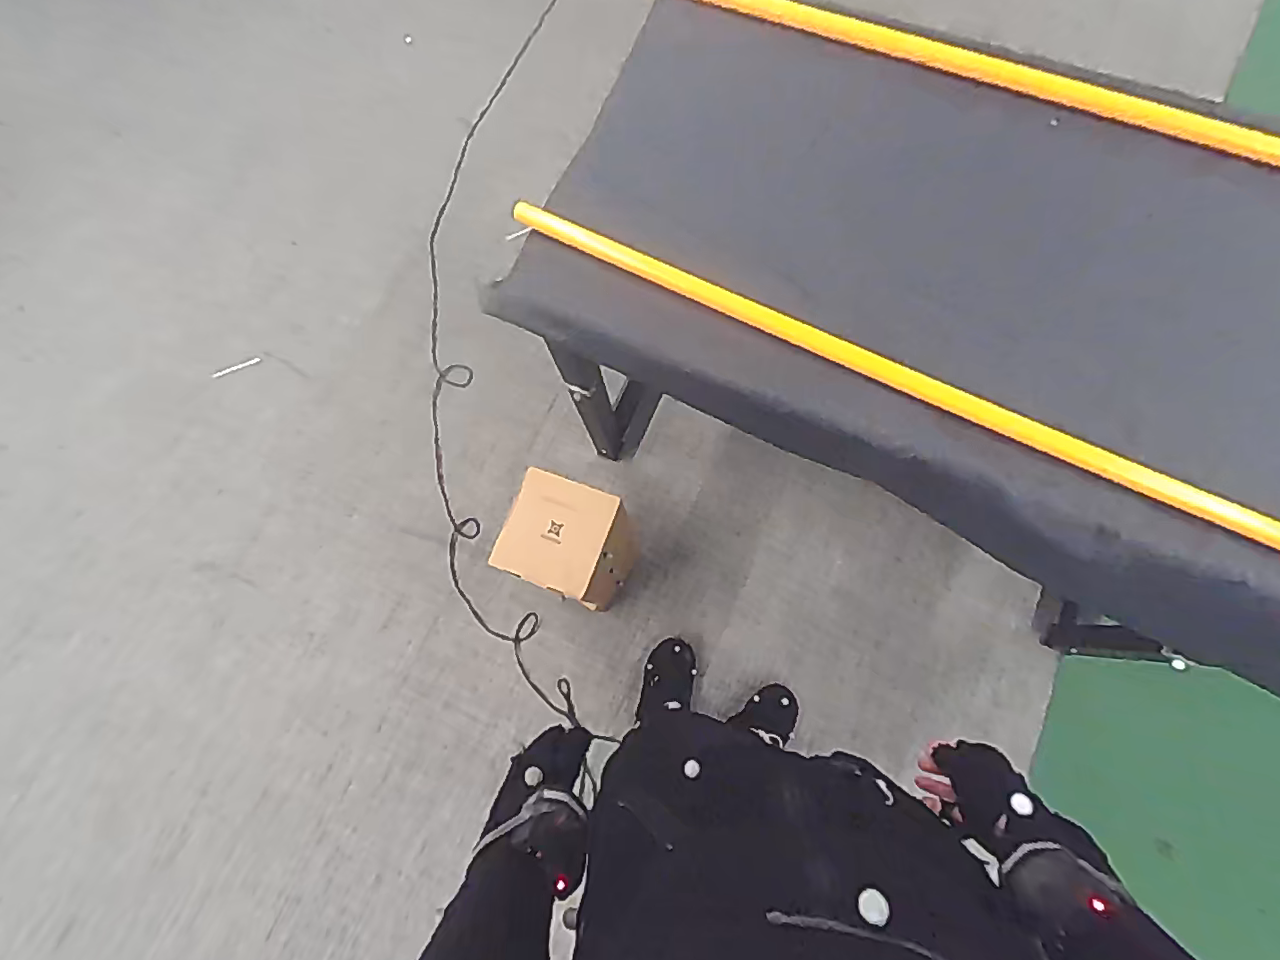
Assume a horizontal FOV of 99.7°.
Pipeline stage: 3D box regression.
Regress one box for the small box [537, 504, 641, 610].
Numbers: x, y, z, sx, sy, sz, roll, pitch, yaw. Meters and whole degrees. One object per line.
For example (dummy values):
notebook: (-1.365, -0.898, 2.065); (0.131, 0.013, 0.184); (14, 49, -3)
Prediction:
small box: (-0.109, 0.184, 1.255); (0.168, 0.176, 0.179); (32, 81, 11)
